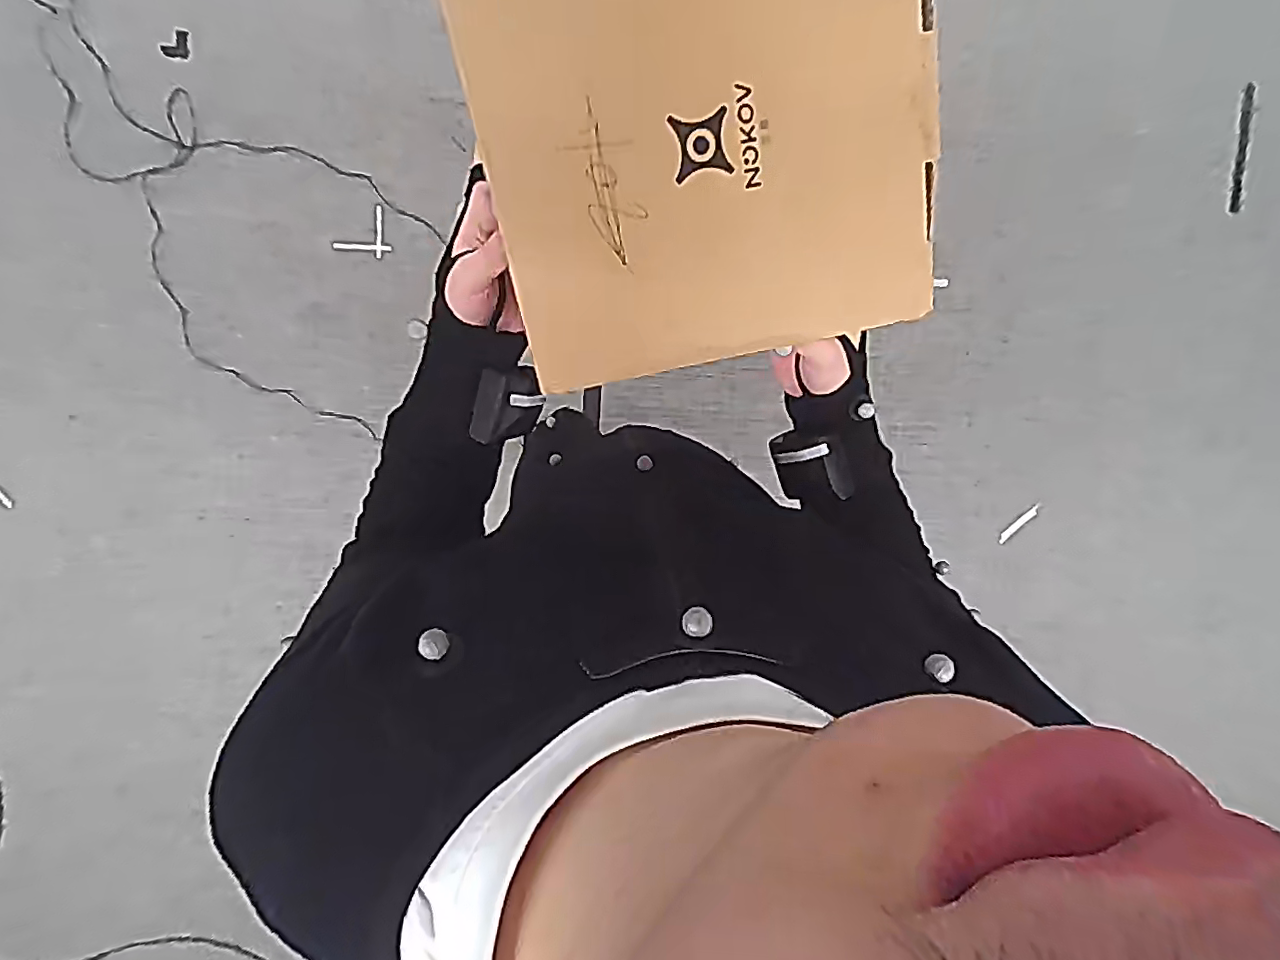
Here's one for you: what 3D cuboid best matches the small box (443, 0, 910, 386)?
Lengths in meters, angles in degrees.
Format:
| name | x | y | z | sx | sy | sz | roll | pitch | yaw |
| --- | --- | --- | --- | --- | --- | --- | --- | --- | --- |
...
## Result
| name | x | y | z | sx | sy | sz | roll | pitch | yaw |
| --- | --- | --- | --- | --- | --- | --- | --- | --- | --- |
| small box | 0.018 | -0.160 | 0.297 | 0.179 | 0.176 | 0.168 | -12 | 108 | 0 |
